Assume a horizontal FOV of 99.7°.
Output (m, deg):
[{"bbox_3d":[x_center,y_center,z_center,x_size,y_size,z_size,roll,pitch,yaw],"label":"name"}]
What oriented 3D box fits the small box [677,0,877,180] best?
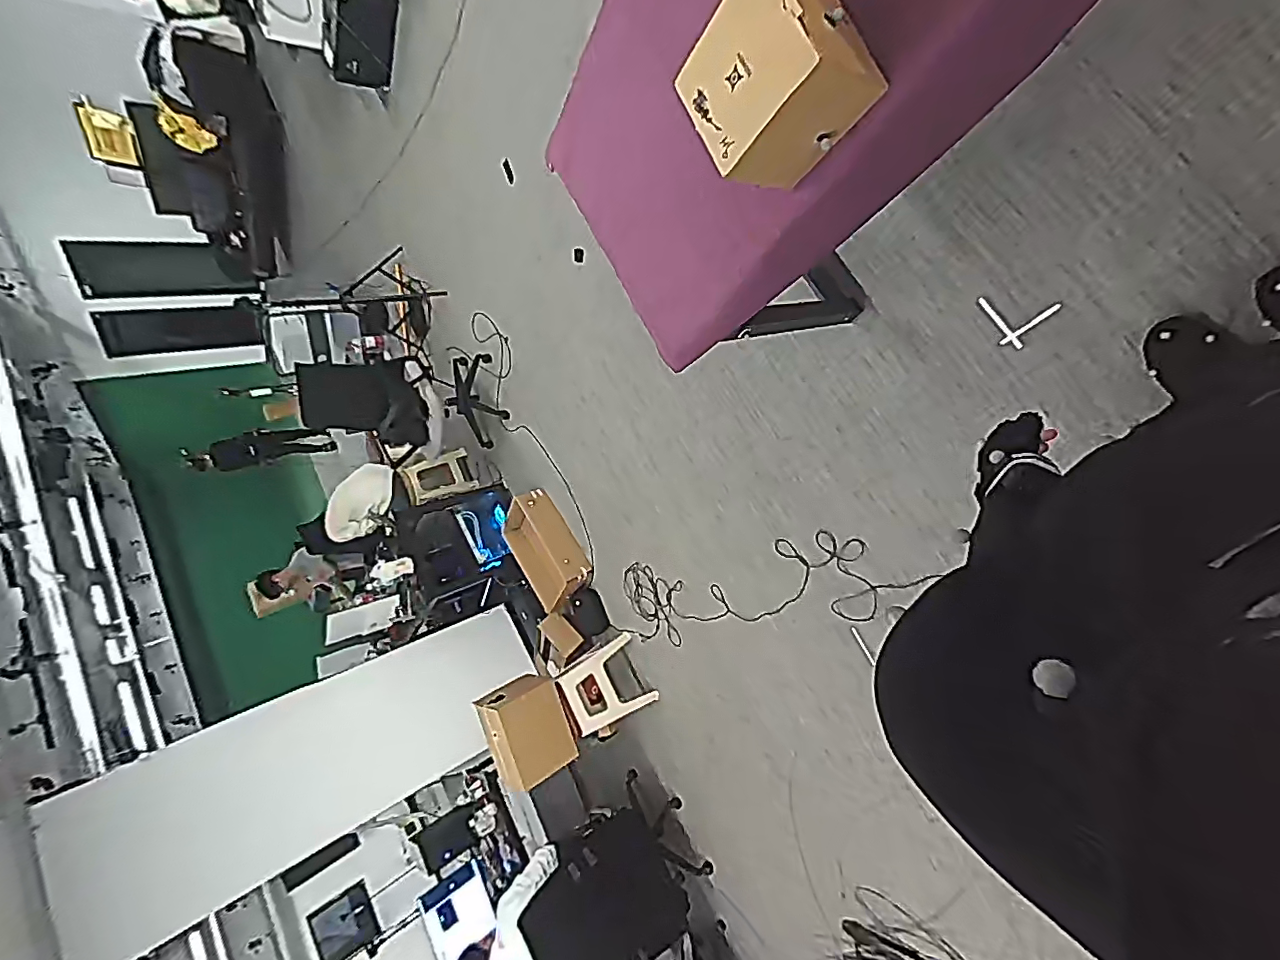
[{"bbox_3d":[0.189,-0.540,0.728,0.179,0.176,0.168,-35,77,51],"label":"small box"}]
